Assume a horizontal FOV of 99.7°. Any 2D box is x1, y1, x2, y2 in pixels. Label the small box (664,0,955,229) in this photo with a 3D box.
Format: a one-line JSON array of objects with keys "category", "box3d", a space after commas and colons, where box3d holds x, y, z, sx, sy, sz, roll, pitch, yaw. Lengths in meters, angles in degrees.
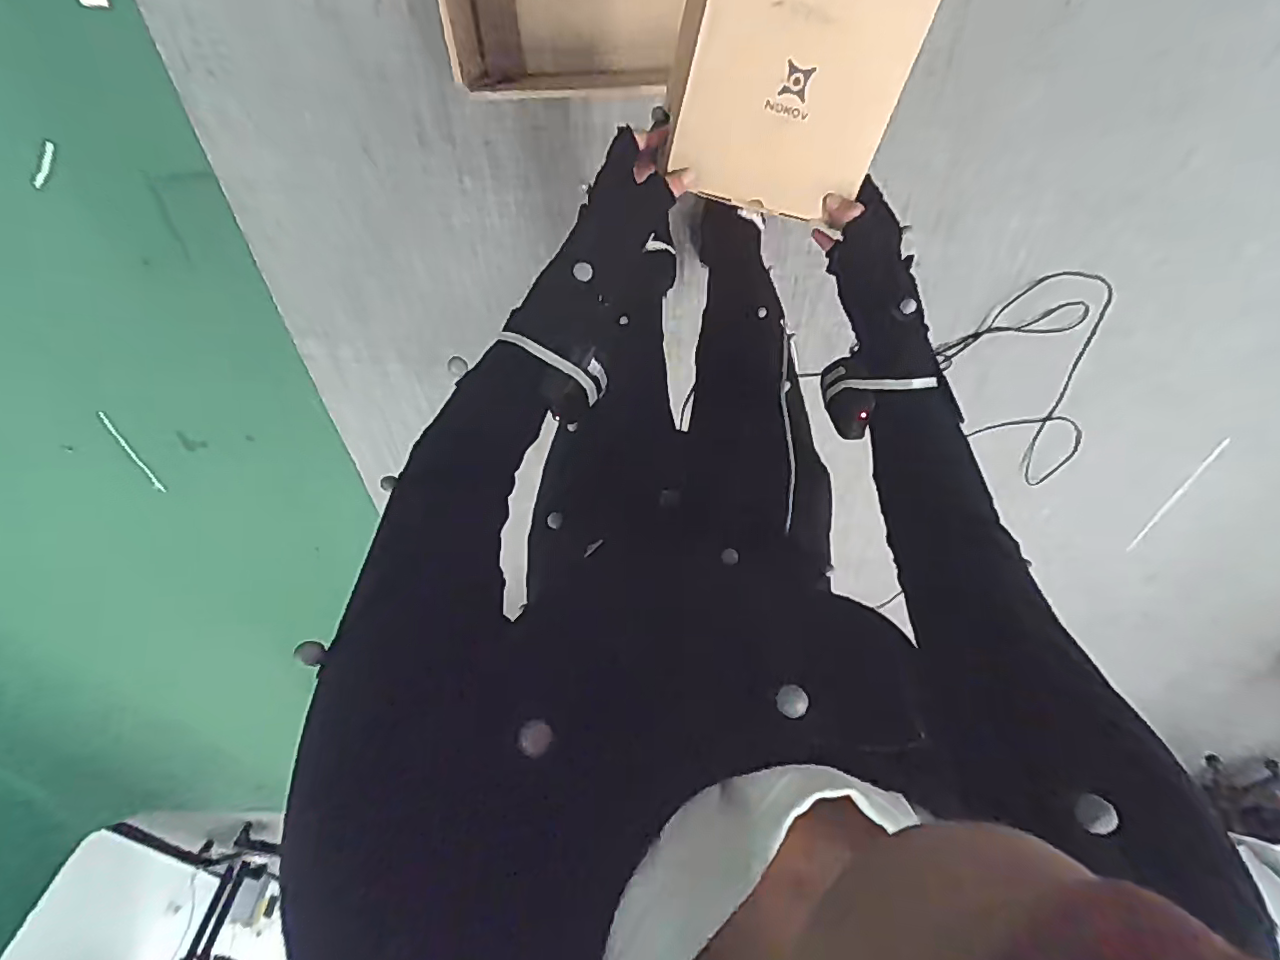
[{"category": "small box", "box3d": [0.120, -0.343, 0.461, 0.168, 0.176, 0.179, 9, 127, -10]}]
